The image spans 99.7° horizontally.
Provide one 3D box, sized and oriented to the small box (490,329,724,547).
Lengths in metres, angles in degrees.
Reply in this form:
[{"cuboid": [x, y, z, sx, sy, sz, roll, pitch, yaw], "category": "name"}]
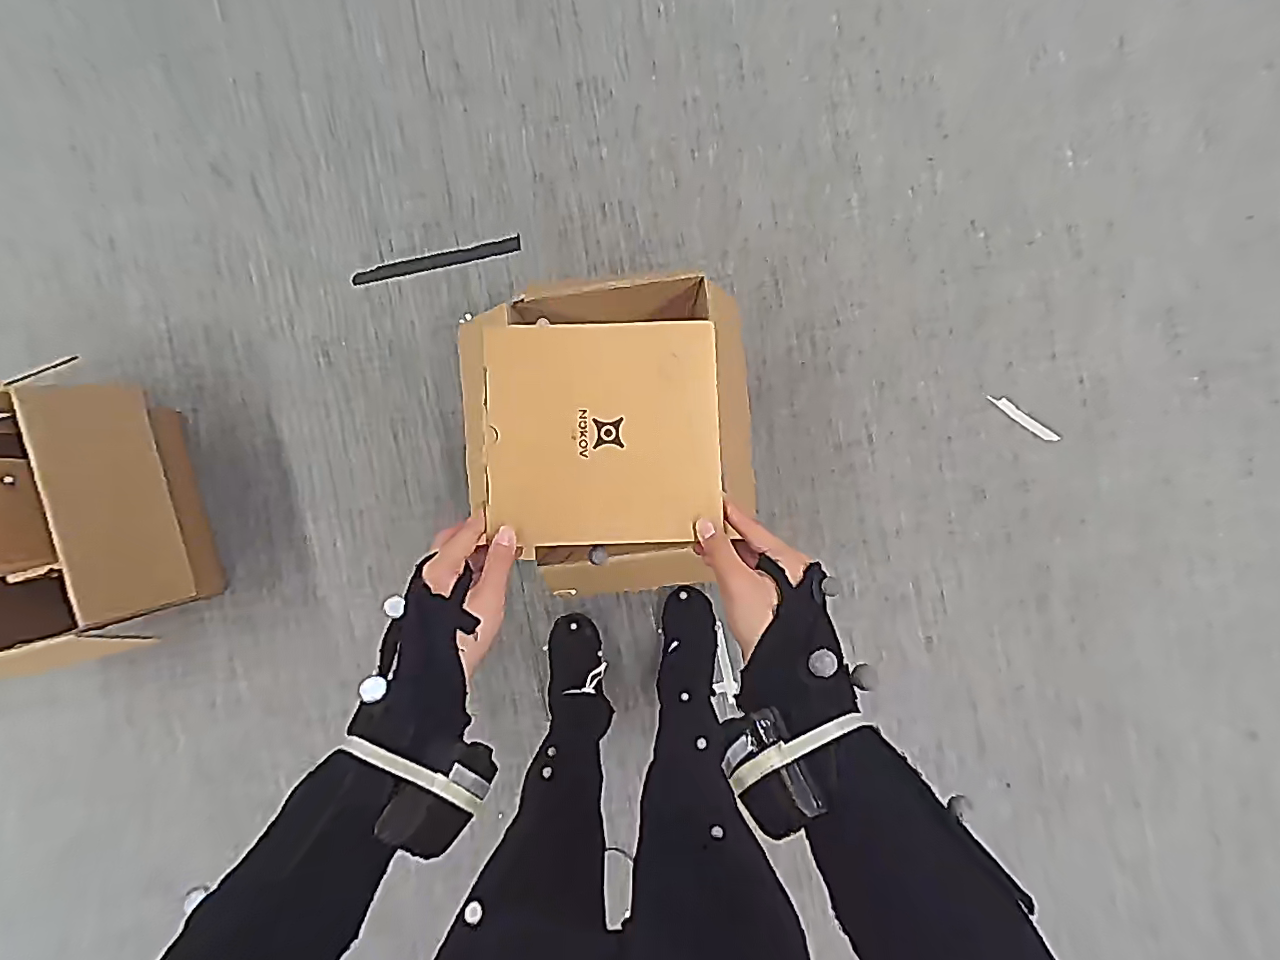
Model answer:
[{"cuboid": [-0.027, -0.028, 0.487, 0.179, 0.176, 0.168, -2, 86, 0], "category": "small box"}]
